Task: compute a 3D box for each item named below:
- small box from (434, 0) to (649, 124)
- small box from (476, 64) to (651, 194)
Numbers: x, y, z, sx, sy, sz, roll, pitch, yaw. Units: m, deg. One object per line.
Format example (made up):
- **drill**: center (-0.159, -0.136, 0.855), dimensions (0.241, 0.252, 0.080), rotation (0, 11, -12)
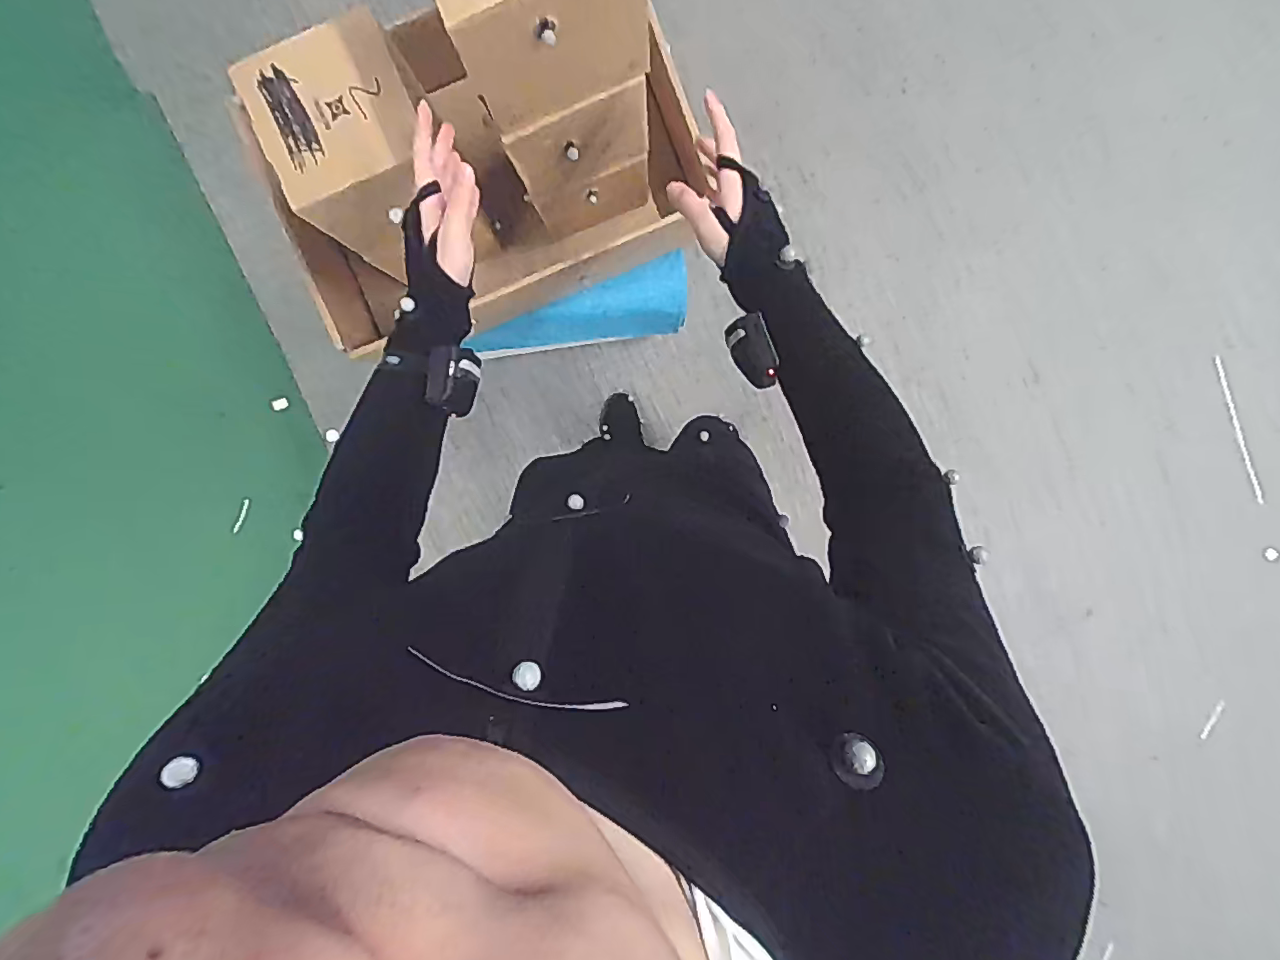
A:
- **small box**: center (-0.099, -0.477, 0.501), dimensions (0.179, 0.176, 0.168), rotation (-20, 96, 5)
- **small box**: center (-0.096, -0.490, 0.666), dimensions (0.179, 0.176, 0.168), rotation (-22, 96, 6)
